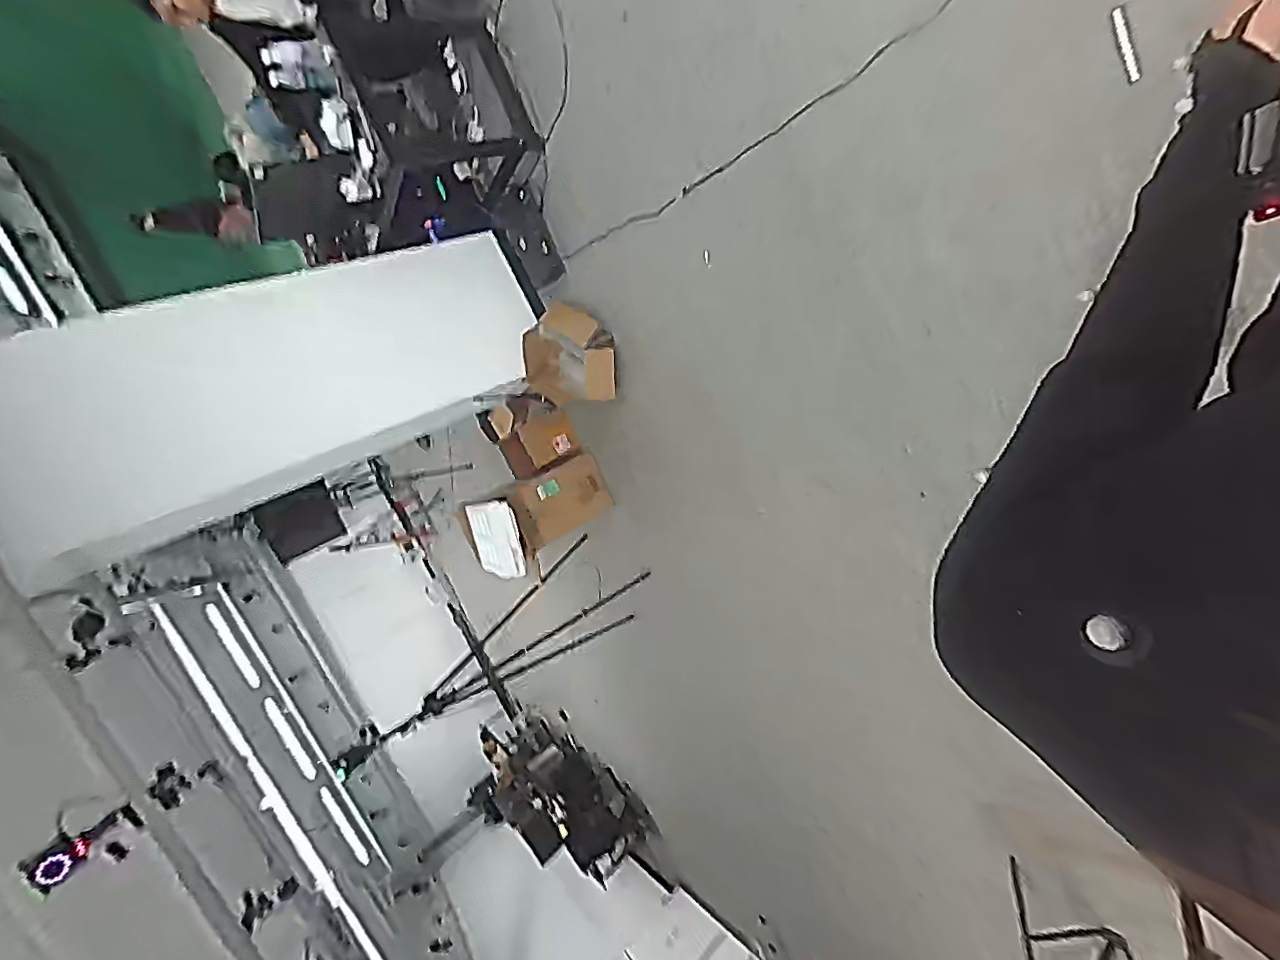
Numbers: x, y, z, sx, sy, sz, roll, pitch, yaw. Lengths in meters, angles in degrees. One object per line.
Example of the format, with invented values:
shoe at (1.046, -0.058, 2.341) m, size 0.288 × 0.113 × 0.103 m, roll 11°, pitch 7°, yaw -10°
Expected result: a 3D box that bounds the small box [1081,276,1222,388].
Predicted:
small box at (1.094, -0.314, 1.157) m, size 0.179 × 0.176 × 0.168 m, roll -5°, pitch 113°, yaw 57°
